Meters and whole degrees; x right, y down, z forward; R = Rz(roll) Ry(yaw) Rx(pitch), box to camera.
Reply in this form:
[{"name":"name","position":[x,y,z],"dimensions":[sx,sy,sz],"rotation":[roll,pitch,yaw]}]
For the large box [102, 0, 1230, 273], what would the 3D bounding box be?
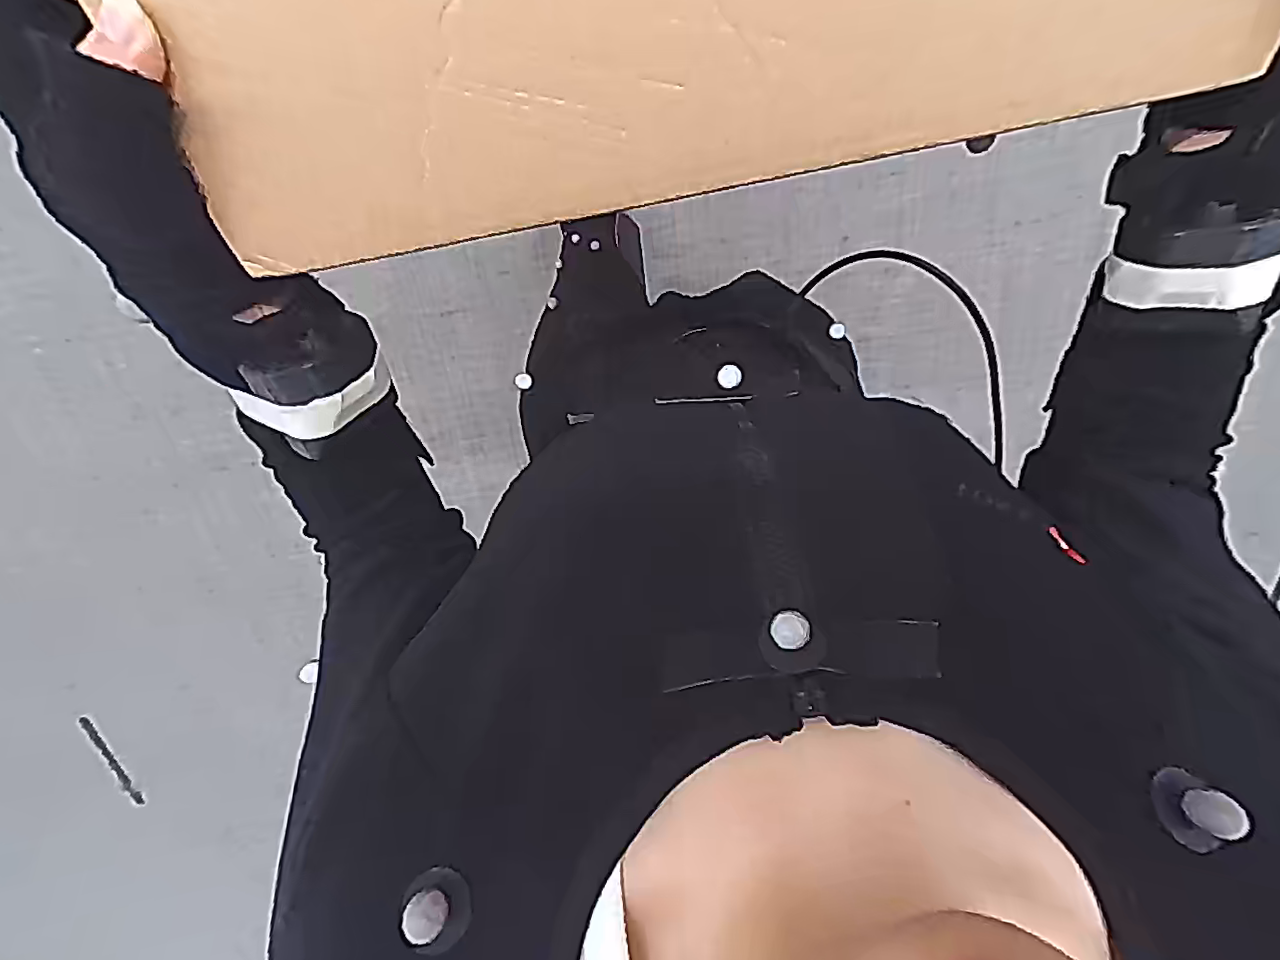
[{"name":"large box","position":[-0.004,-0.334,0.252],"dimensions":[0.408,0.320,0.320],"rotation":[-10,126,2]}]
